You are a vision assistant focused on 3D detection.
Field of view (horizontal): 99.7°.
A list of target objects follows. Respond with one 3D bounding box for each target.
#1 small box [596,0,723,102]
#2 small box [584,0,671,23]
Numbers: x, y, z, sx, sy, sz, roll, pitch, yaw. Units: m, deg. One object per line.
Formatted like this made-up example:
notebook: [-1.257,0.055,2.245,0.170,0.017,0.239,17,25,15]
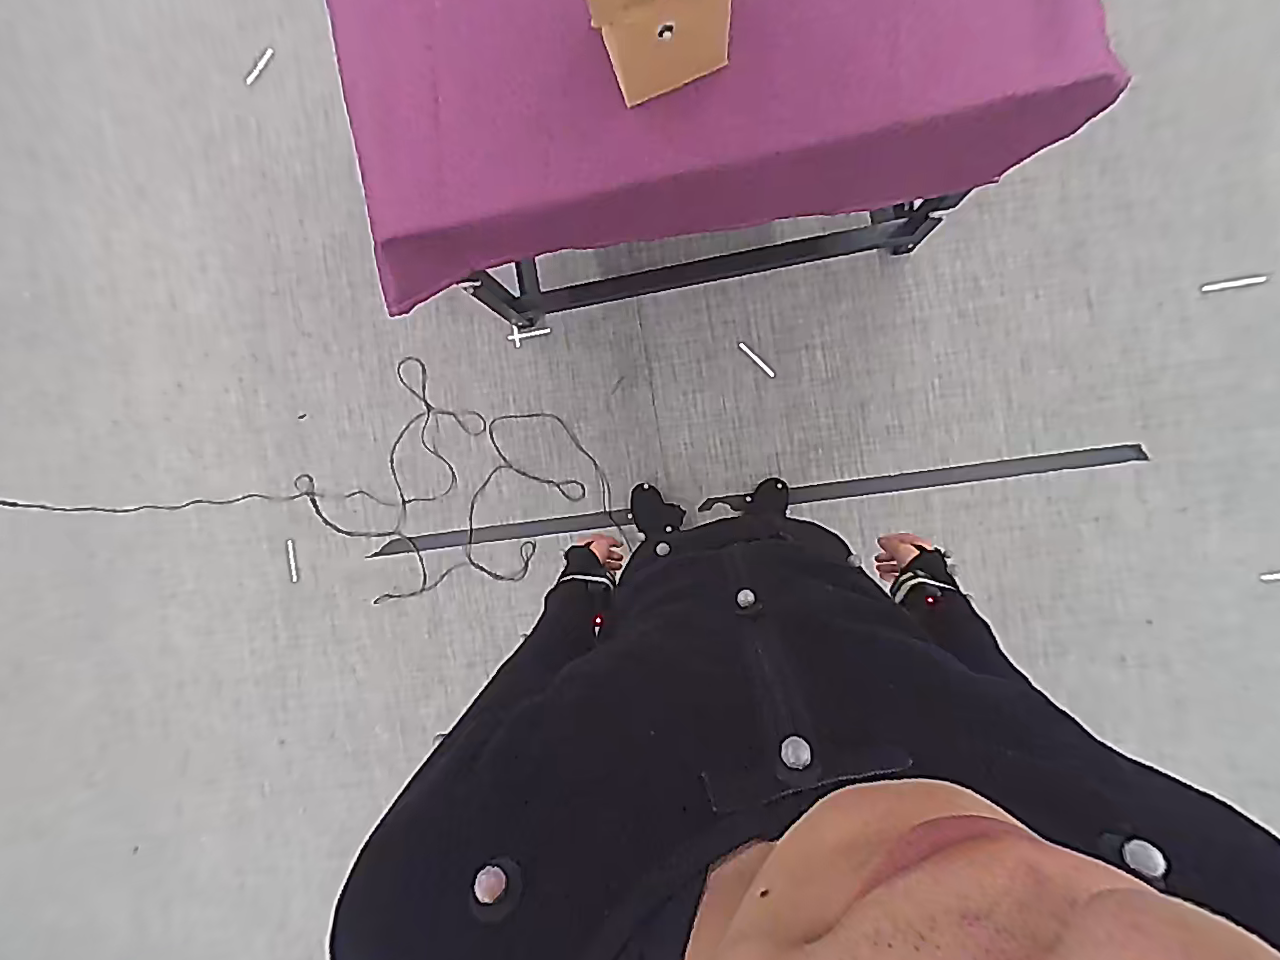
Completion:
small box: [0.022,-0.720,0.811,0.179,0.176,0.168,-20,90,6]
small box: [-0.018,-0.719,0.650,0.168,0.176,0.179,-14,90,7]
